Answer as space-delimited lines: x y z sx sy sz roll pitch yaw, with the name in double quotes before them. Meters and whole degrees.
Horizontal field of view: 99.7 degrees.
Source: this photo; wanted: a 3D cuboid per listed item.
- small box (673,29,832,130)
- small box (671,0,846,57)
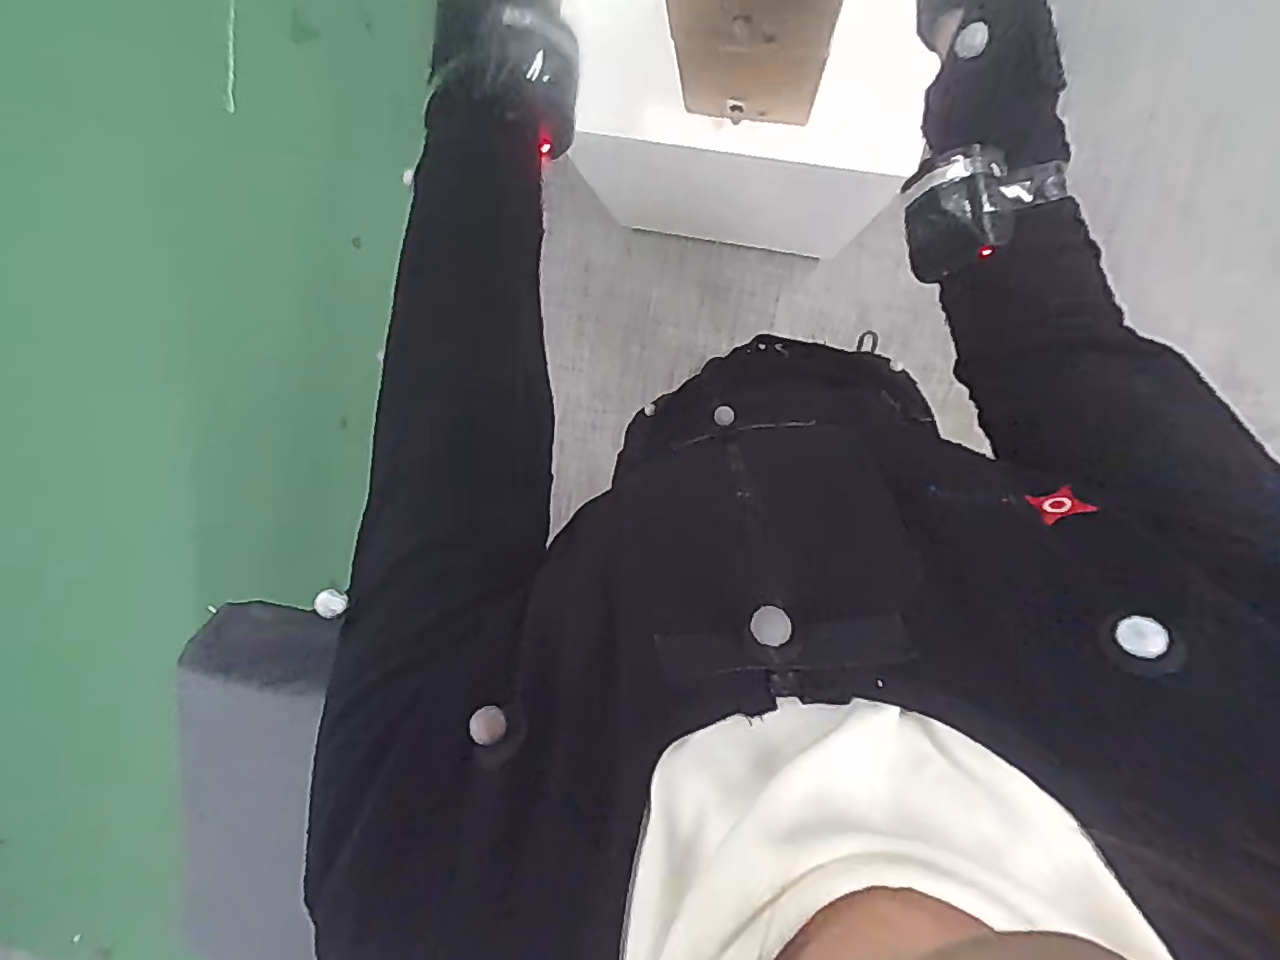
"small box" 0.140 -0.541 0.623 0.168 0.176 0.179 11 104 9
"small box" 0.111 -0.514 0.464 0.168 0.176 0.179 9 101 8
